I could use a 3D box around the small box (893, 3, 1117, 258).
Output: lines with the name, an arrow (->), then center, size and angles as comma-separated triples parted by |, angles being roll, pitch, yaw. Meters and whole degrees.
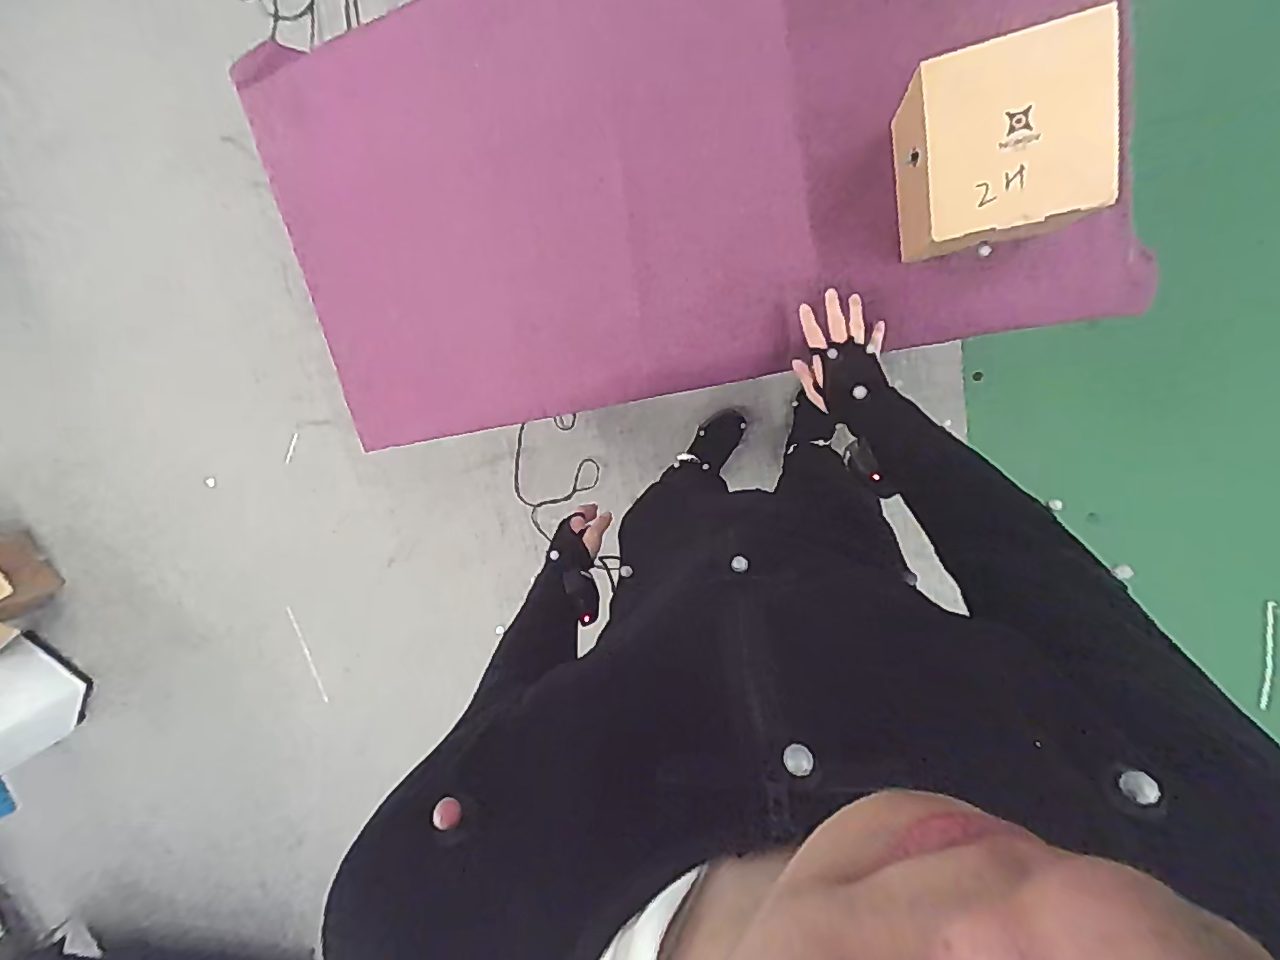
small box -> 0.391, -0.367, 0.609 | 0.168, 0.176, 0.179 | -6, 103, 17
